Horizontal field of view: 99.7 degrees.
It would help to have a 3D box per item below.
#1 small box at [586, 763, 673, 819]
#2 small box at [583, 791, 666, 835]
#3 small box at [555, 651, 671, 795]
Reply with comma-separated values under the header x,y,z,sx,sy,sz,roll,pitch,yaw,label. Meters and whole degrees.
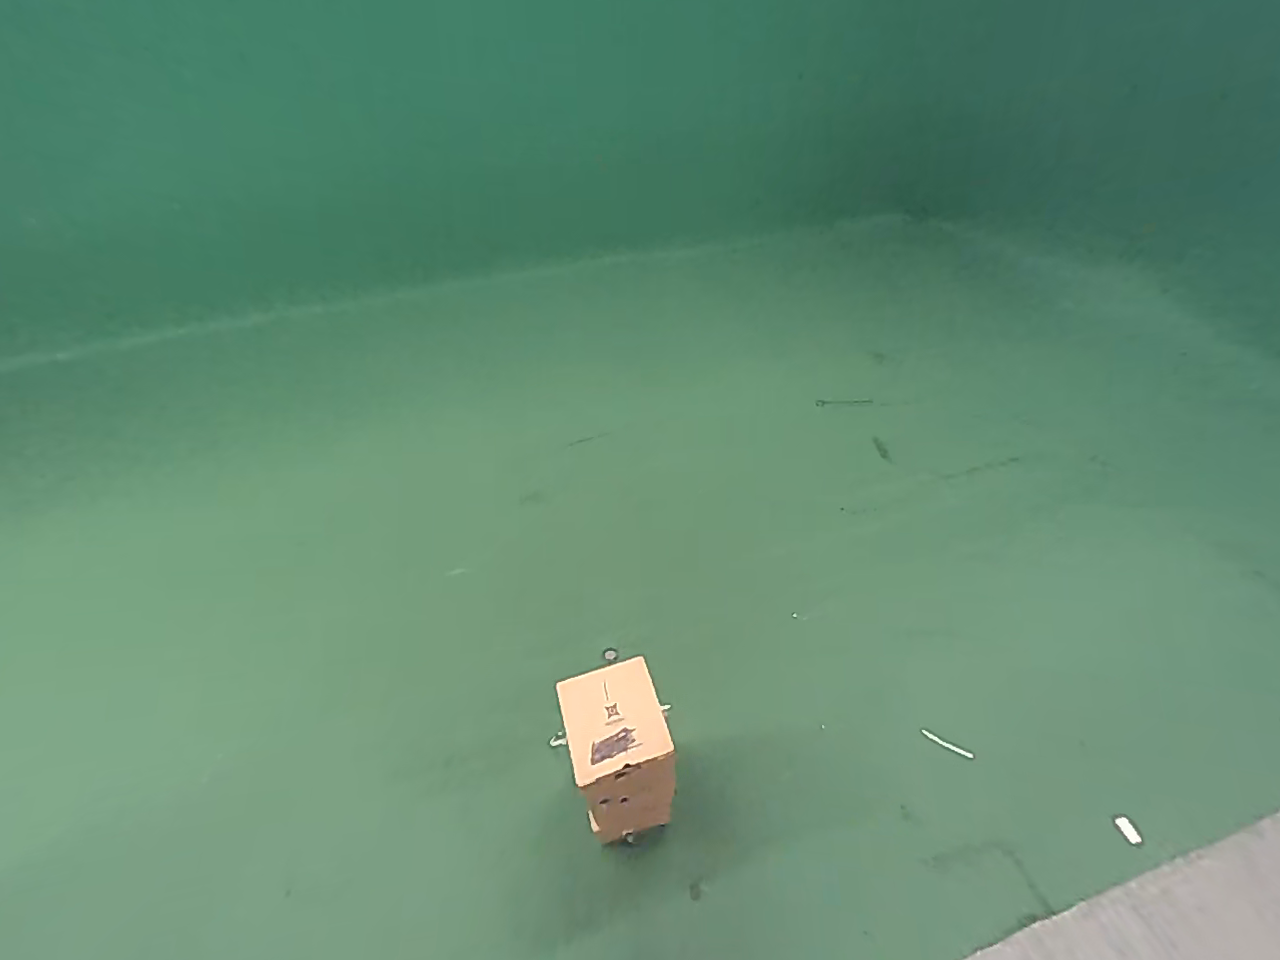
x,y,z,sx,sy,sz,roll,pitch,yaw,label
-0.039,0.554,1.101,0.168,0.176,0.179,-14,48,-10,small box
-0.044,0.657,1.203,0.168,0.176,0.179,-13,49,-7,small box
-0.046,0.445,0.977,0.168,0.176,0.179,-14,48,-10,small box
